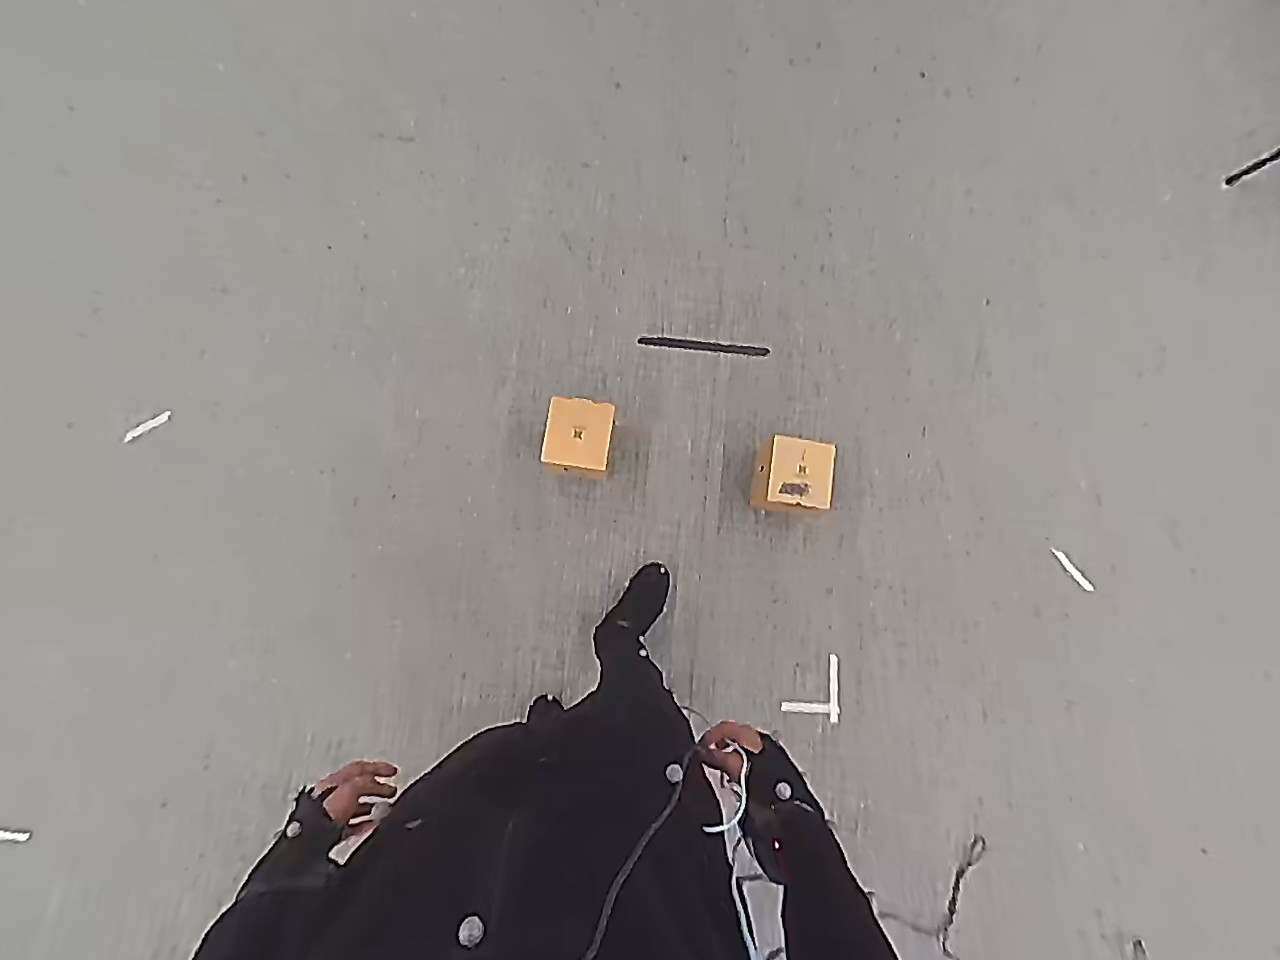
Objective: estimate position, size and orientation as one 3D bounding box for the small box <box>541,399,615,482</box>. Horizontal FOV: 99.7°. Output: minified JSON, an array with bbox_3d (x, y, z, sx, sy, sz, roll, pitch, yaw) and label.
[{"bbox_3d":[-0.159,-0.098,1.441,0.168,0.176,0.179,8,79,-2],"label":"small box"}]

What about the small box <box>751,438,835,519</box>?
[{"bbox_3d":[0.406,0.003,1.457,0.168,0.176,0.179,10,79,-3],"label":"small box"}]
